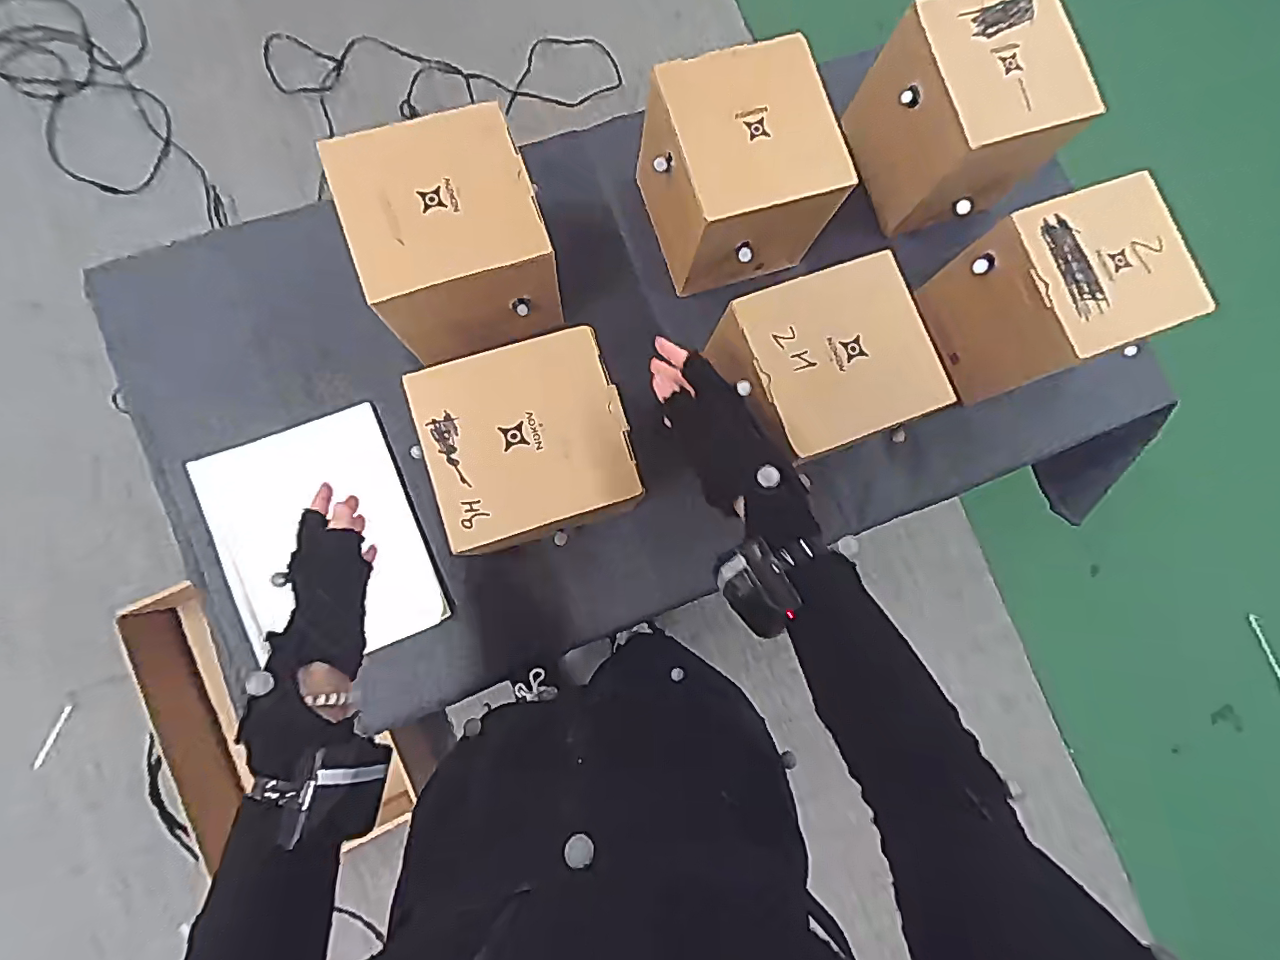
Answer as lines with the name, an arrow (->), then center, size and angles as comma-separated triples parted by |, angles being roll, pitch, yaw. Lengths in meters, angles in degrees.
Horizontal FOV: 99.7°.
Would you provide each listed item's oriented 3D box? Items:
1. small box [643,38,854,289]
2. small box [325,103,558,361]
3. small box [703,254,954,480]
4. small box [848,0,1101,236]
small box -> 0.109, -0.341, 0.620 | 0.168, 0.176, 0.179 | -17, 84, -7
small box -> -0.192, -0.249, 0.578 | 0.179, 0.176, 0.168 | -18, 83, -8
small box -> 0.188, -0.110, 0.594 | 0.179, 0.176, 0.168 | -20, 84, -7
small box -> 0.381, -0.434, 0.653 | 0.168, 0.176, 0.179 | -18, 85, -6
